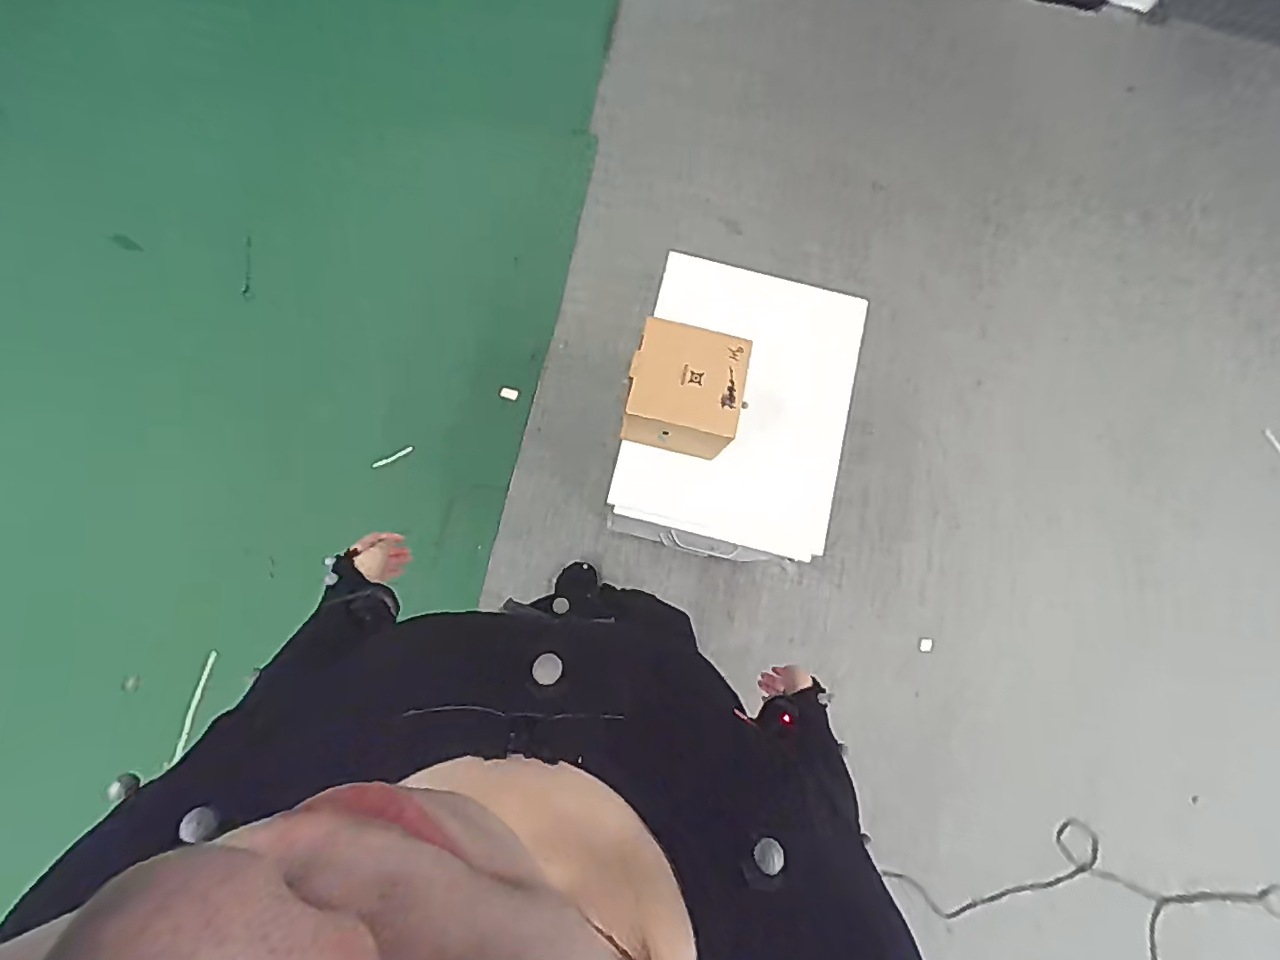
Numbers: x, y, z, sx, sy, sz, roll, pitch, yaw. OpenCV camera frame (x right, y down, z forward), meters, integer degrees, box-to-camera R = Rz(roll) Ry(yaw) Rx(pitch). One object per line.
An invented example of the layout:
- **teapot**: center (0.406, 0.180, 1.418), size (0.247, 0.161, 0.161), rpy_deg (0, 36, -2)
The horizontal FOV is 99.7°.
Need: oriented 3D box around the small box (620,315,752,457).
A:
- **small box**: center (0.068, -0.147, 0.909), size (0.179, 0.176, 0.168), rpy_deg (14, 79, -2)
